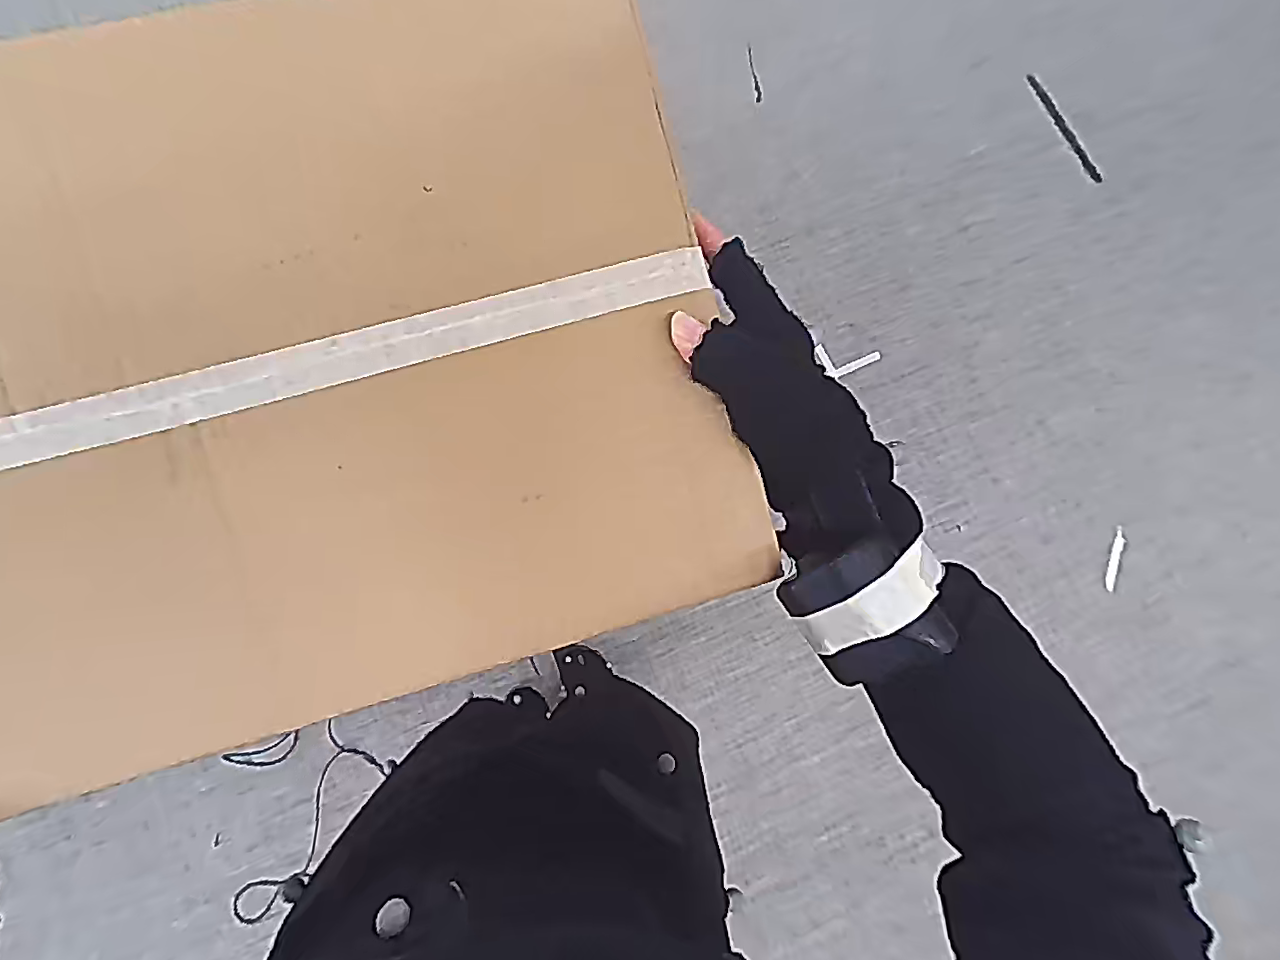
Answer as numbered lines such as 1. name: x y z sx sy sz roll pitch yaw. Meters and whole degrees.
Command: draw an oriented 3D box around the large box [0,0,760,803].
1. large box: -0.180 -0.056 0.401 0.408 0.320 0.320 -15 94 -6
